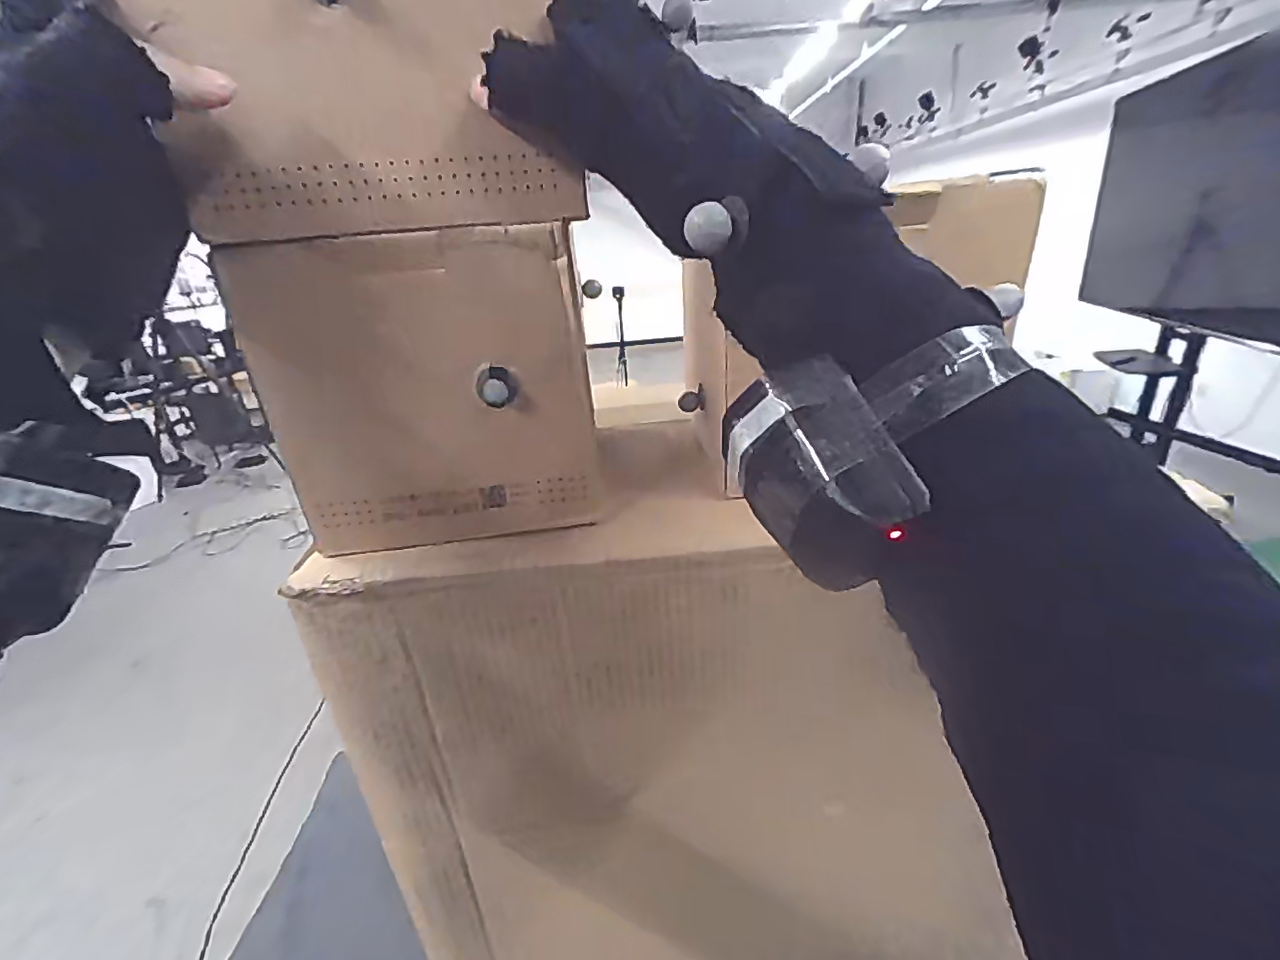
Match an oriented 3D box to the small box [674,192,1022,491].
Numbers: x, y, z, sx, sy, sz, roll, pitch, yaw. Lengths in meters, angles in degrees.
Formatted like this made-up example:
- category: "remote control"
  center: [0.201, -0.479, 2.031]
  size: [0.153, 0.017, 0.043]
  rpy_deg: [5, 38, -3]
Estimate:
- category: "small box"
  center: [0.117, -0.099, 0.383]
  size: [0.168, 0.176, 0.179]
  rpy_deg: [-5, 25, -1]
